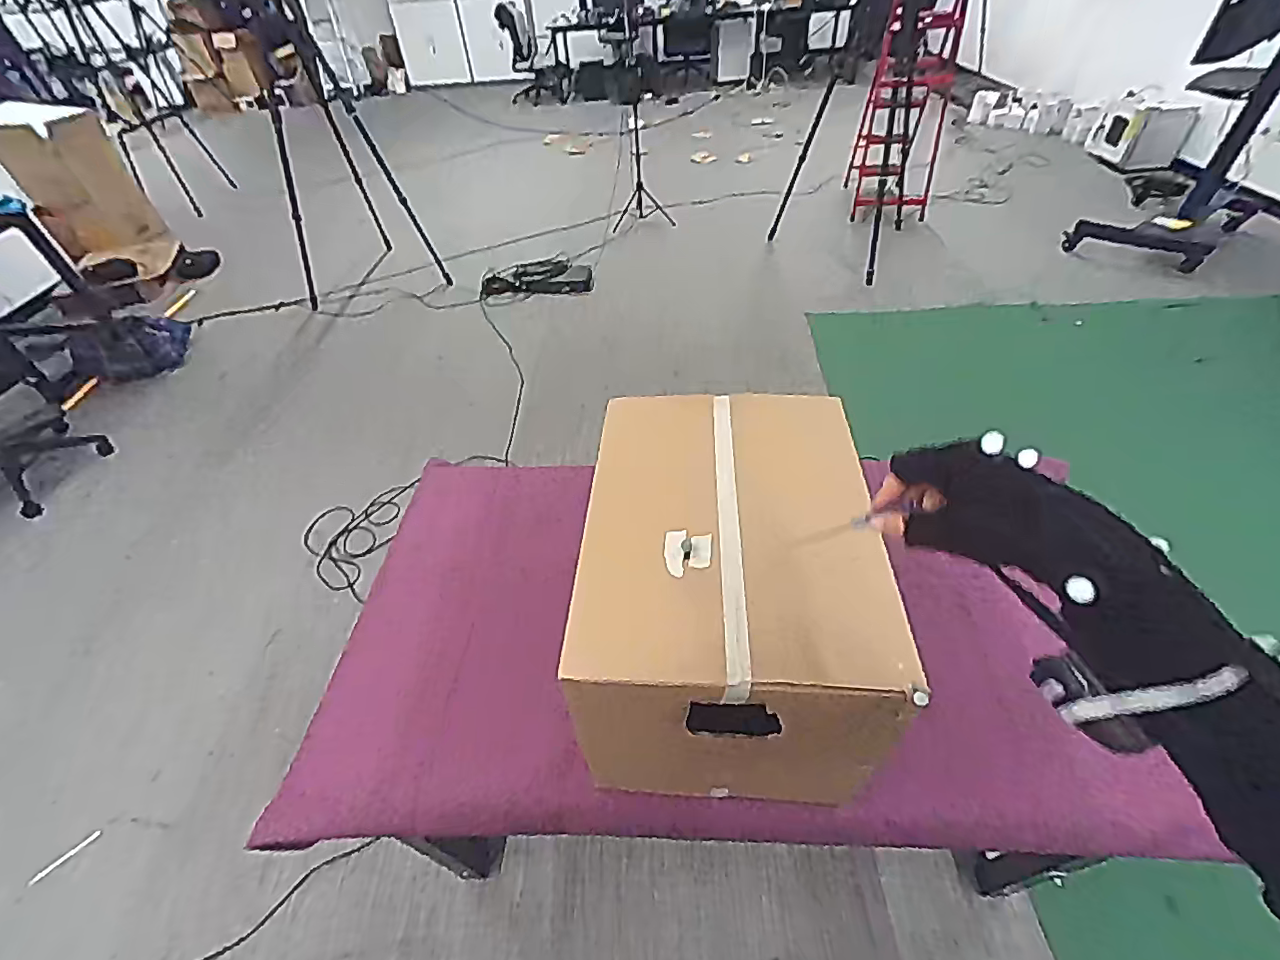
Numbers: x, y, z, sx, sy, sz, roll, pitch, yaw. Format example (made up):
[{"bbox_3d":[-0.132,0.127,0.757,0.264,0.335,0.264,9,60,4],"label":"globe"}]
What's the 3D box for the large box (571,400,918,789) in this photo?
[{"bbox_3d":[0.105,0.139,0.717,0.320,0.320,0.408,1,46,5],"label":"large box"}]
